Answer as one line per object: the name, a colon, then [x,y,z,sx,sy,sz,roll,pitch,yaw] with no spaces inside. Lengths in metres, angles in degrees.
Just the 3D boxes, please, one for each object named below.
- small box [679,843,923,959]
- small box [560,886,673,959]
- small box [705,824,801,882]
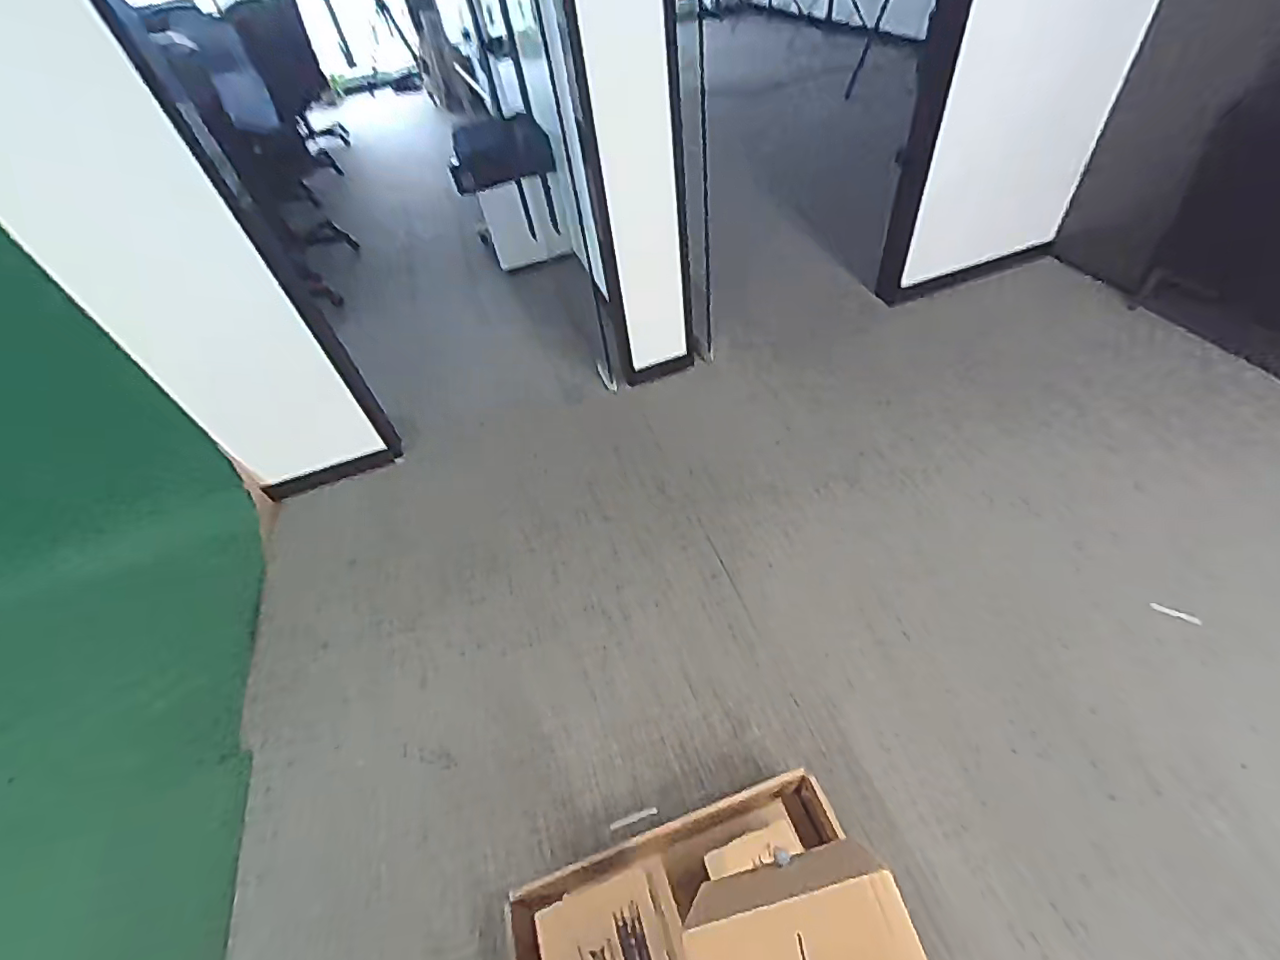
small box: [0.143,0.419,0.428,0.168,0.176,0.179,-19,61,2]
small box: [-0.030,0.842,0.941,0.168,0.176,0.179,-15,48,-6]
small box: [0.228,0.755,0.973,0.168,0.176,0.179,-19,49,-7]
